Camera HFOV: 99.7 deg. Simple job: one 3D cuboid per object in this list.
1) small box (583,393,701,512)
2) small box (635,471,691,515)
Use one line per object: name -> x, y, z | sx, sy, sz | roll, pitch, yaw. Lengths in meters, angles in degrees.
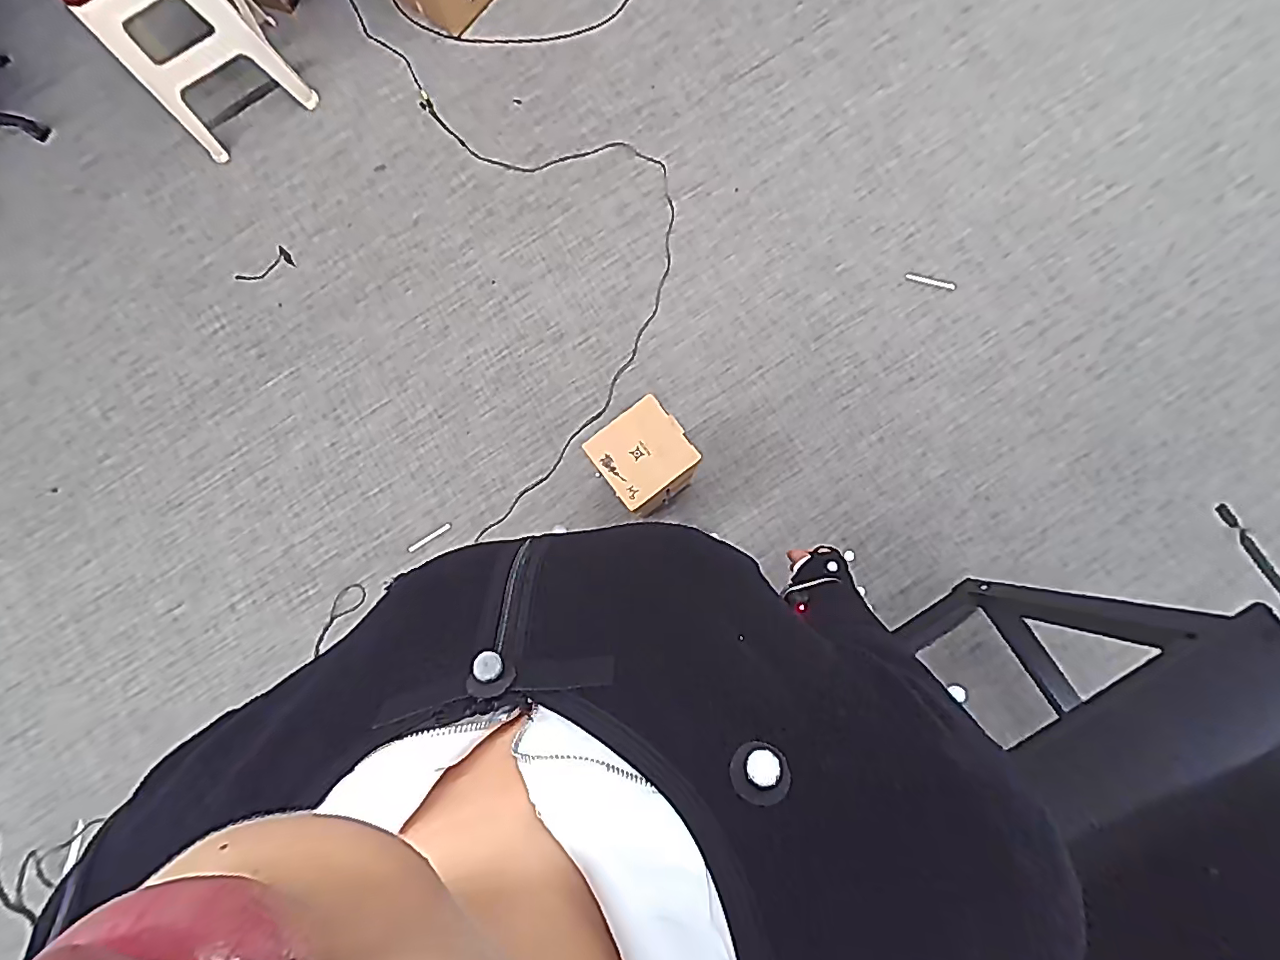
small box -> 0.005, -0.050, 1.129 | 0.179, 0.176, 0.168 | -38, 83, -2
small box -> 0.018, -0.020, 1.454 | 0.179, 0.176, 0.168 | -37, 83, -1
